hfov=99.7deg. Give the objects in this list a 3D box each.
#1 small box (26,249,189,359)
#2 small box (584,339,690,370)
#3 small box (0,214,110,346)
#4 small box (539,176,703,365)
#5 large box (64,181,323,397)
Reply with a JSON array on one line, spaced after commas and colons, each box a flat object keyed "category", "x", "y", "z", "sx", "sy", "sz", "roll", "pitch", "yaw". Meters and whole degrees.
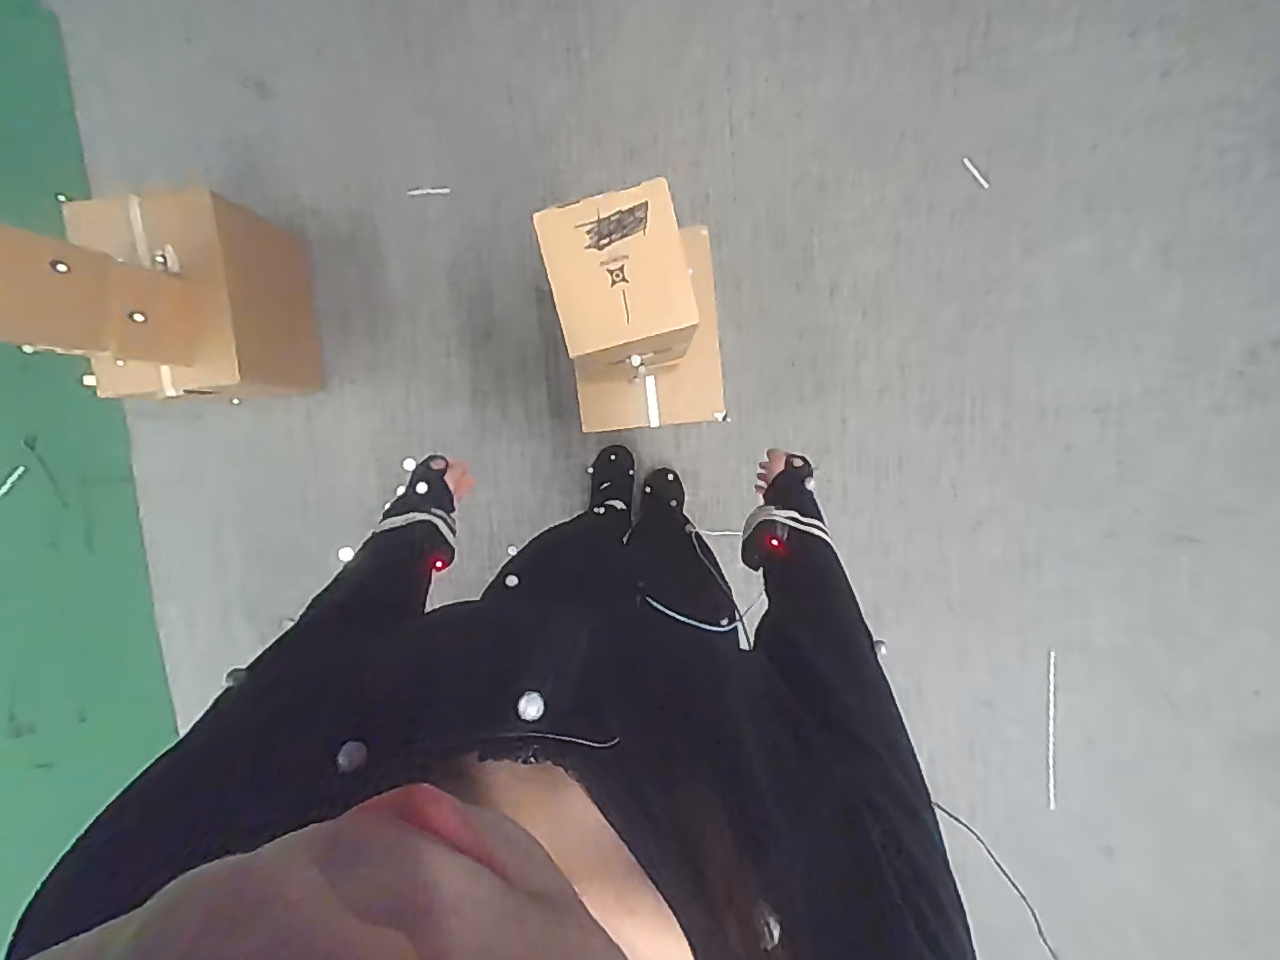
[{"category": "small box", "x": -1.015, "y": -0.337, "z": 1.041, "sx": 0.168, "sy": 0.176, "sz": 0.179, "roll": 6, "pitch": 97, "yaw": 0}, {"category": "small box", "x": -0.018, "y": -0.282, "z": 0.885, "sx": 0.168, "sy": 0.176, "sz": 0.179, "roll": -13, "pitch": 98, "yaw": 3}, {"category": "small box", "x": -1.022, "y": -0.326, "z": 0.879, "sx": 0.168, "sy": 0.176, "sz": 0.179, "roll": 9, "pitch": 98, "yaw": 0}, {"category": "small box", "x": -0.021, "y": -0.263, "z": 0.721, "sx": 0.168, "sy": 0.176, "sz": 0.179, "roll": -14, "pitch": 97, "yaw": 3}, {"category": "large box", "x": -1.013, "y": -0.417, "z": 1.276, "sx": 0.320, "sy": 0.320, "sz": 0.408, "roll": -5, "pitch": 96, "yaw": 1}]
